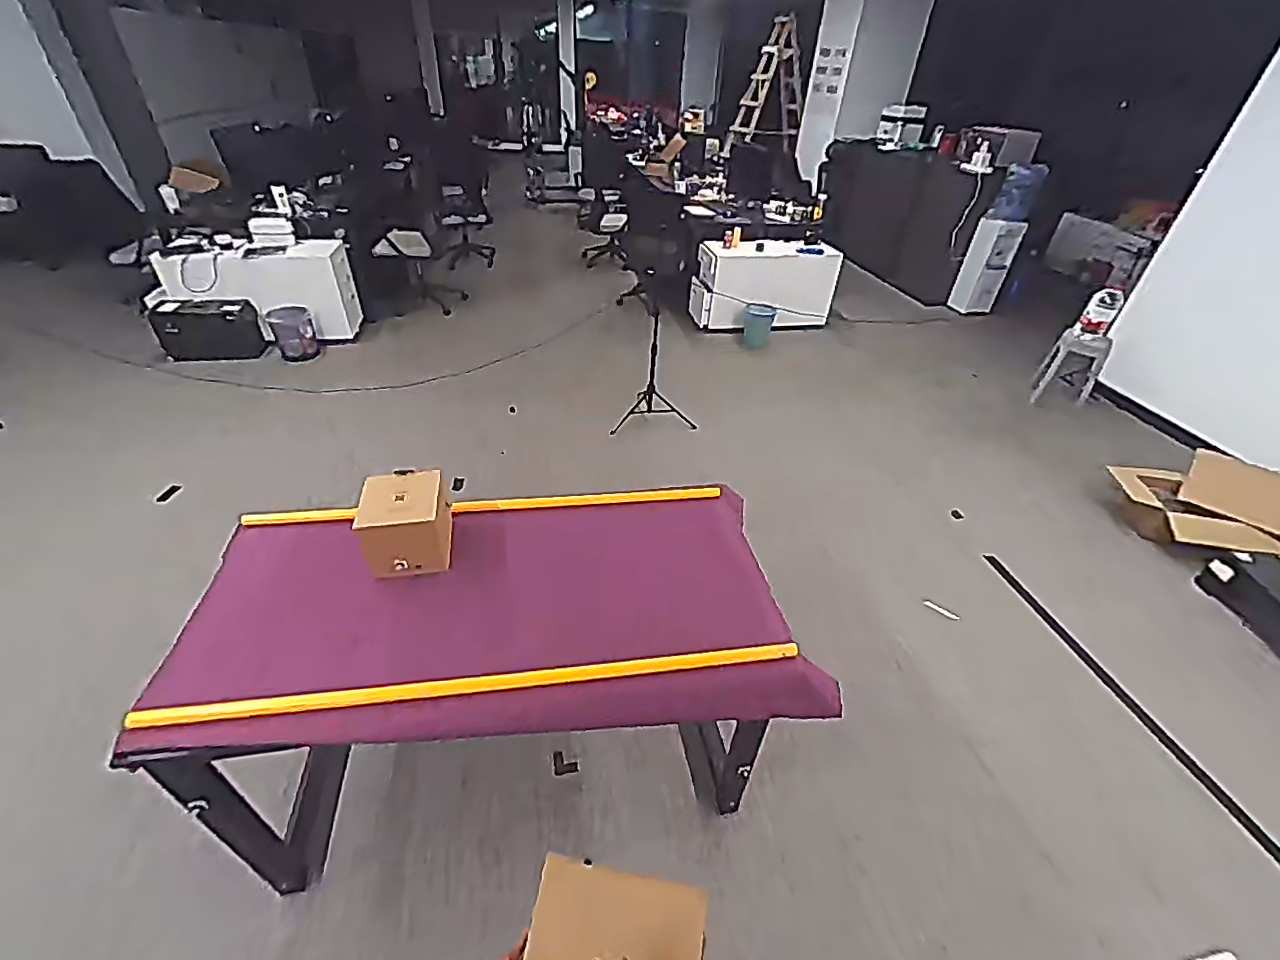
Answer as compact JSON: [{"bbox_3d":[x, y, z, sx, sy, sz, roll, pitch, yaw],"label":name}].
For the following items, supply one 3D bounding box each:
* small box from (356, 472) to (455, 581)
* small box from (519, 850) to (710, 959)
[{"bbox_3d":[-0.525,0.104,1.238,0.168,0.176,0.179,-6,39,-11],"label":"small box"},{"bbox_3d":[-0.037,0.511,0.577,0.179,0.176,0.168,13,57,0],"label":"small box"}]
